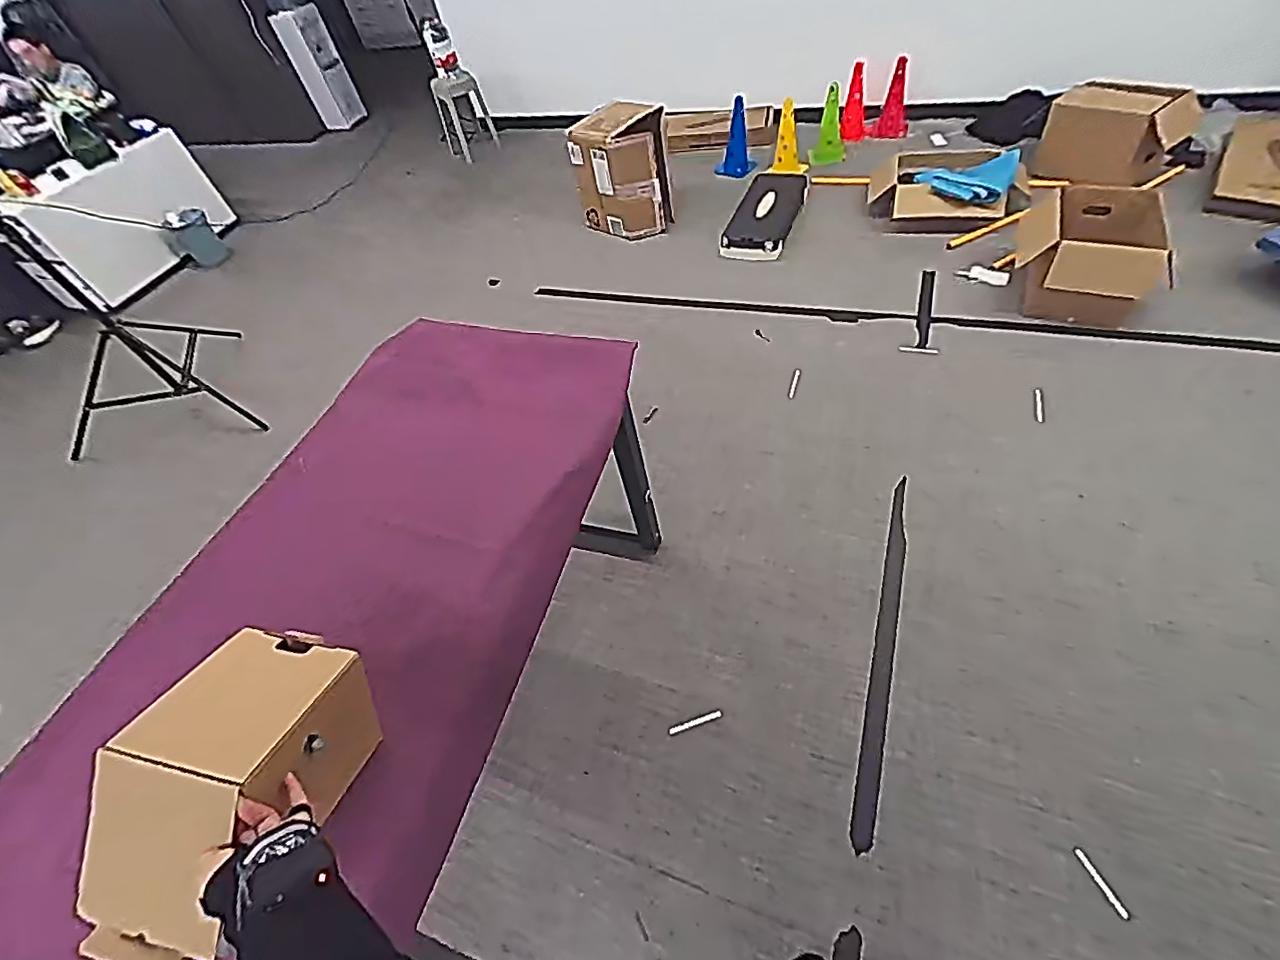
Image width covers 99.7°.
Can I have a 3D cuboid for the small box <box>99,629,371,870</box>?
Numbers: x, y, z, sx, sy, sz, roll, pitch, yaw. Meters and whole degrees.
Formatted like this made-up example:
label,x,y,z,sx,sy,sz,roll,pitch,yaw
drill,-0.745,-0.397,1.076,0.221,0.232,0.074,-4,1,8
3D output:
label,x,y,z,sx,sy,sz,roll,pitch,yaw
small box,-0.445,0.309,0.633,0.168,0.176,0.179,9,29,9
